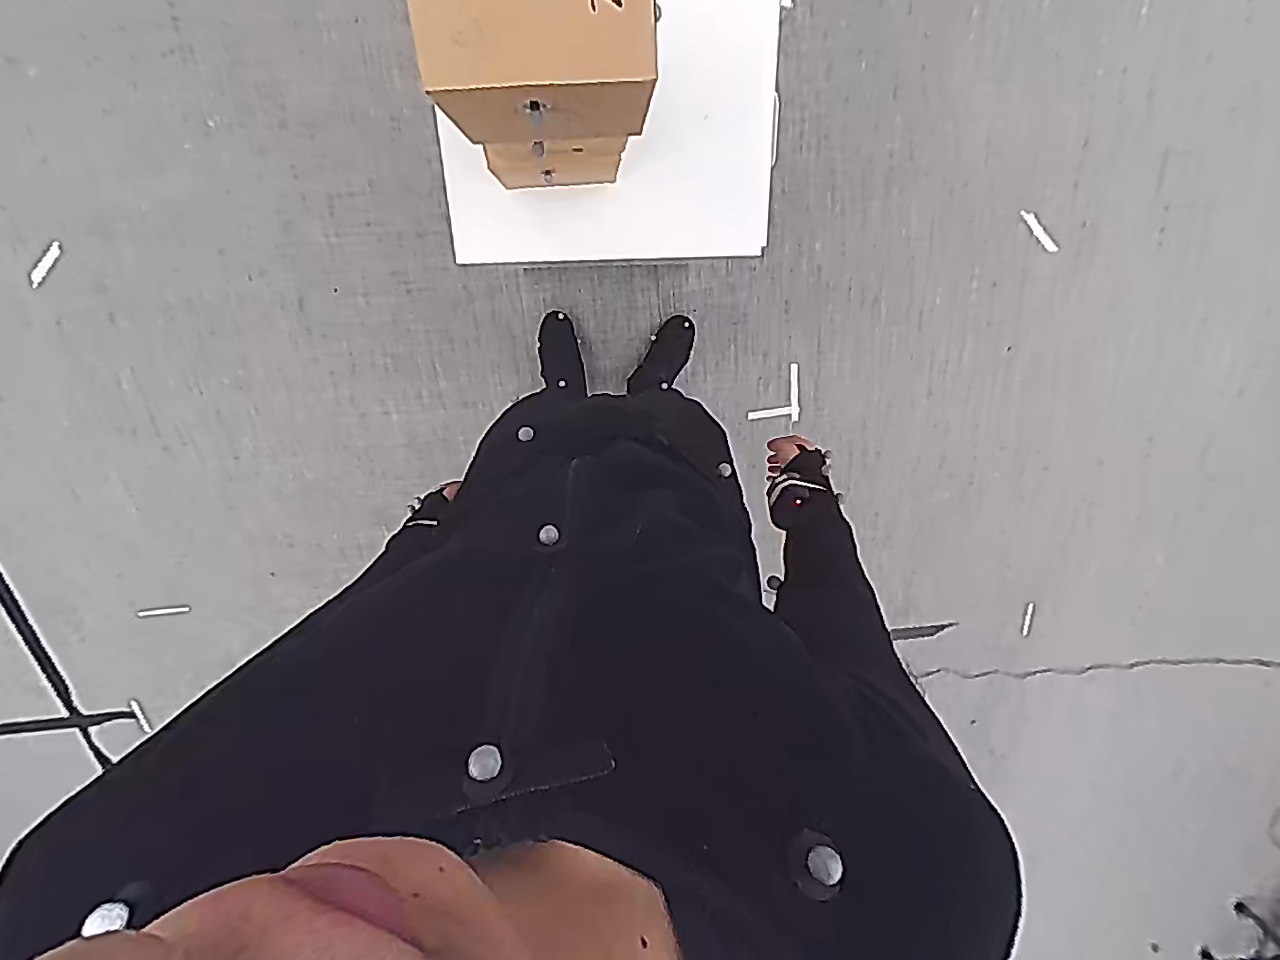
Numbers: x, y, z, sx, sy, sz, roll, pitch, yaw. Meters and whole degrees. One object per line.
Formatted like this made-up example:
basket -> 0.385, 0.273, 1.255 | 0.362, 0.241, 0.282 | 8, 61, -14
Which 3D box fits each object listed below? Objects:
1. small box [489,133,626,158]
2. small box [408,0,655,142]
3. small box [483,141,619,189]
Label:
small box -> -0.099, -0.469, 0.596 | 0.168, 0.176, 0.179 | -5, 110, -3
small box -> -0.084, -0.395, 0.449 | 0.179, 0.176, 0.168 | -5, 111, -3
small box -> -0.124, -0.512, 0.752 | 0.179, 0.176, 0.168 | -6, 111, -4
